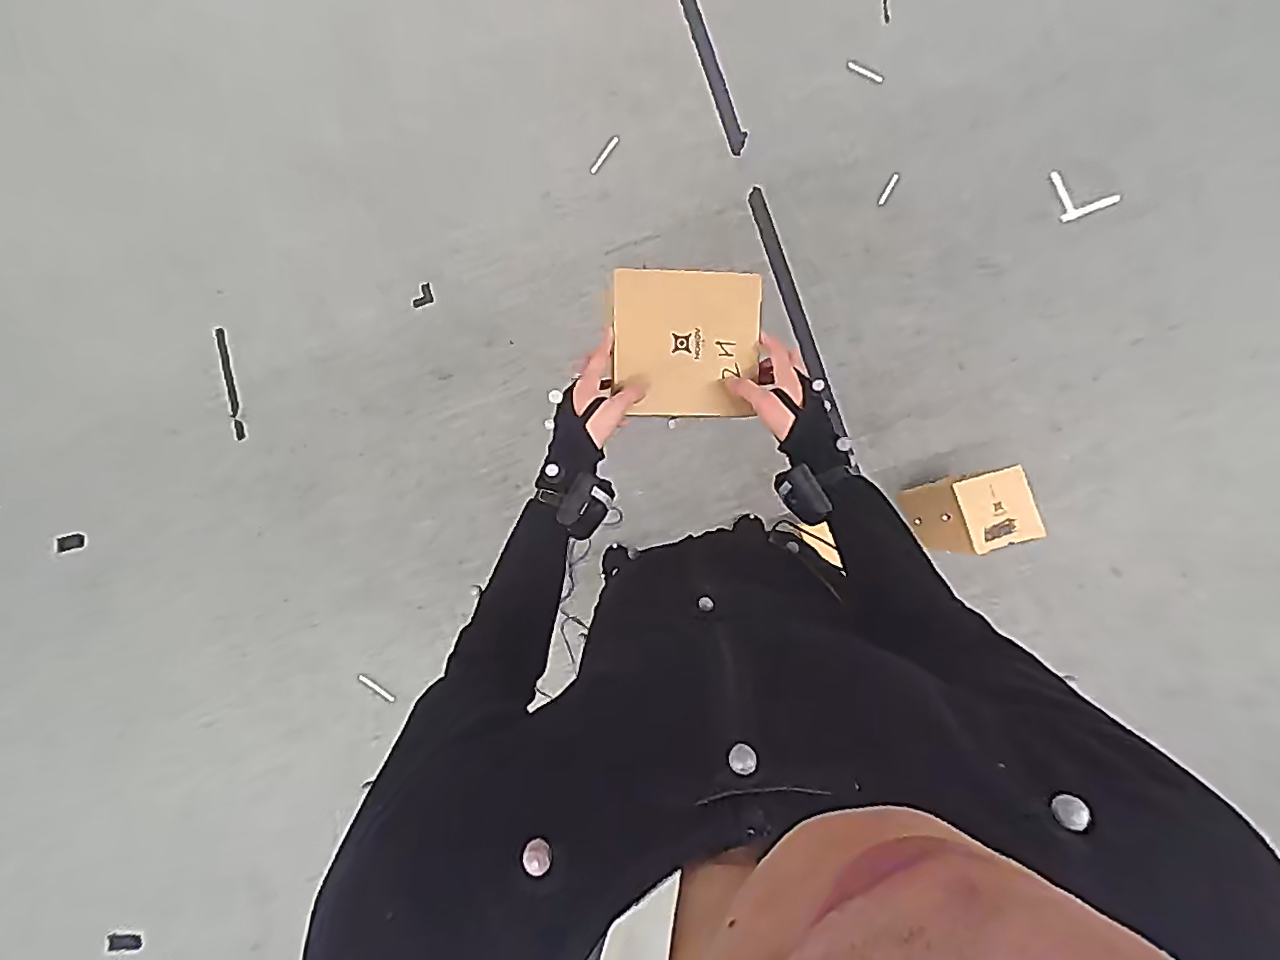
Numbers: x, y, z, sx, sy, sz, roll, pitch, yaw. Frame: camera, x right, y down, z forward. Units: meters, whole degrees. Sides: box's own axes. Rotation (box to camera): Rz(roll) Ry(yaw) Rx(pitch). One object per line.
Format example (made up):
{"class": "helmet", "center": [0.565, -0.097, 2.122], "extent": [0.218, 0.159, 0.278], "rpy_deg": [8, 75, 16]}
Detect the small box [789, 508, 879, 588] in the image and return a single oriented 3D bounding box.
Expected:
{"class": "small box", "center": [0.537, 0.189, 1.527], "extent": [0.168, 0.176, 0.179], "rpy_deg": [-20, 84, 3]}

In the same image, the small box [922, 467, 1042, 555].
{"class": "small box", "center": [0.838, 0.078, 1.341], "extent": [0.168, 0.176, 0.179], "rpy_deg": [-16, 83, 3]}

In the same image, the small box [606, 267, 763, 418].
{"class": "small box", "center": [0.046, -0.166, 0.703], "extent": [0.179, 0.176, 0.168], "rpy_deg": [0, 96, -7]}
